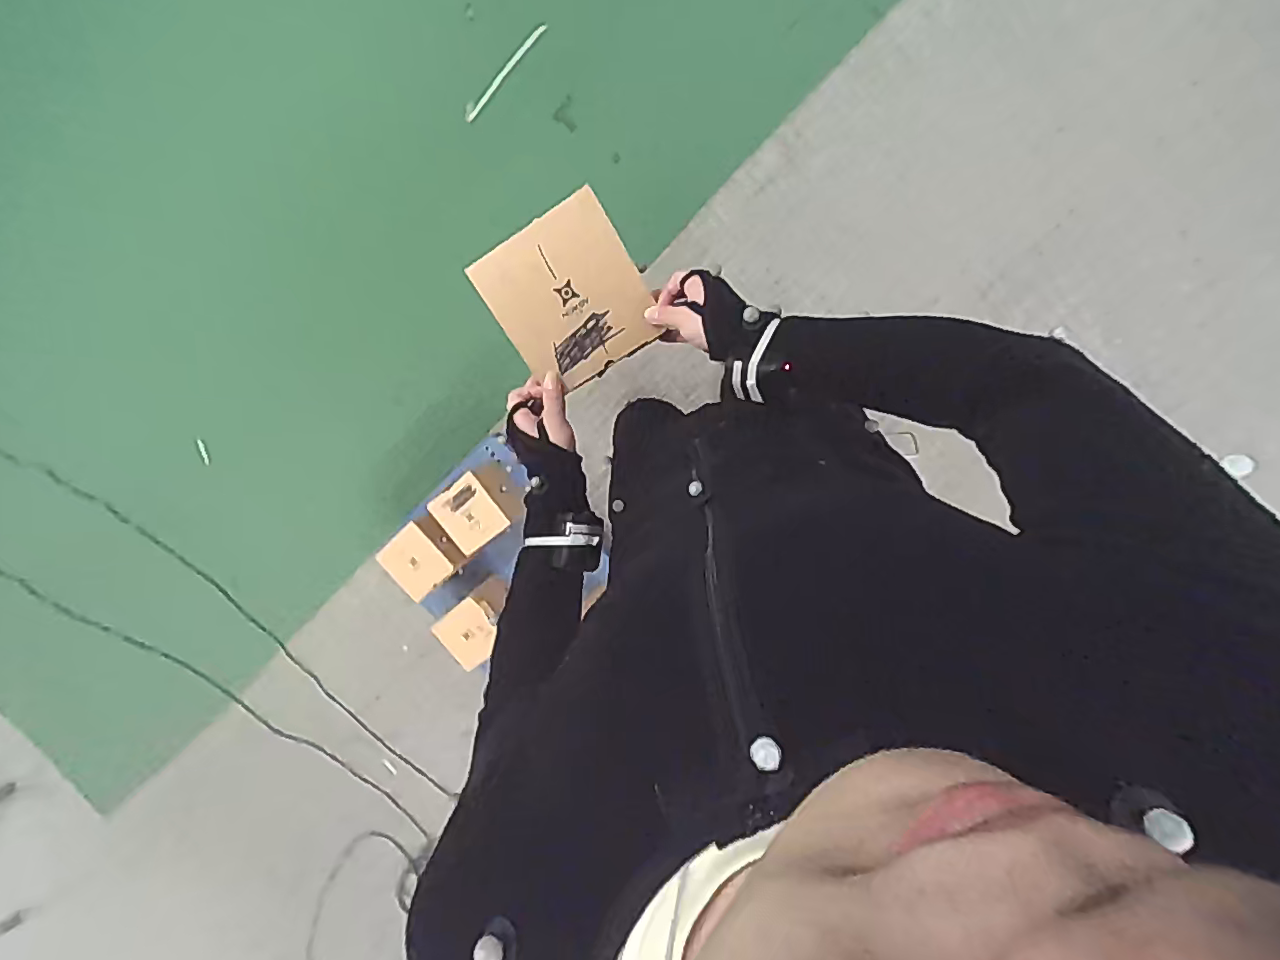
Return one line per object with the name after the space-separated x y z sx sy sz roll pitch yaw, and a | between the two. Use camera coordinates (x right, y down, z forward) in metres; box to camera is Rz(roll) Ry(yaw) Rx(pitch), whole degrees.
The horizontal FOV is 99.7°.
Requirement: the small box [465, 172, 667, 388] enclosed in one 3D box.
-0.080 -0.242 0.671 0.168 0.176 0.179 -28 109 8 | small box

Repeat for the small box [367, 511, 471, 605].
-0.613 0.211 1.525 0.168 0.176 0.179 -40 93 14 | small box
